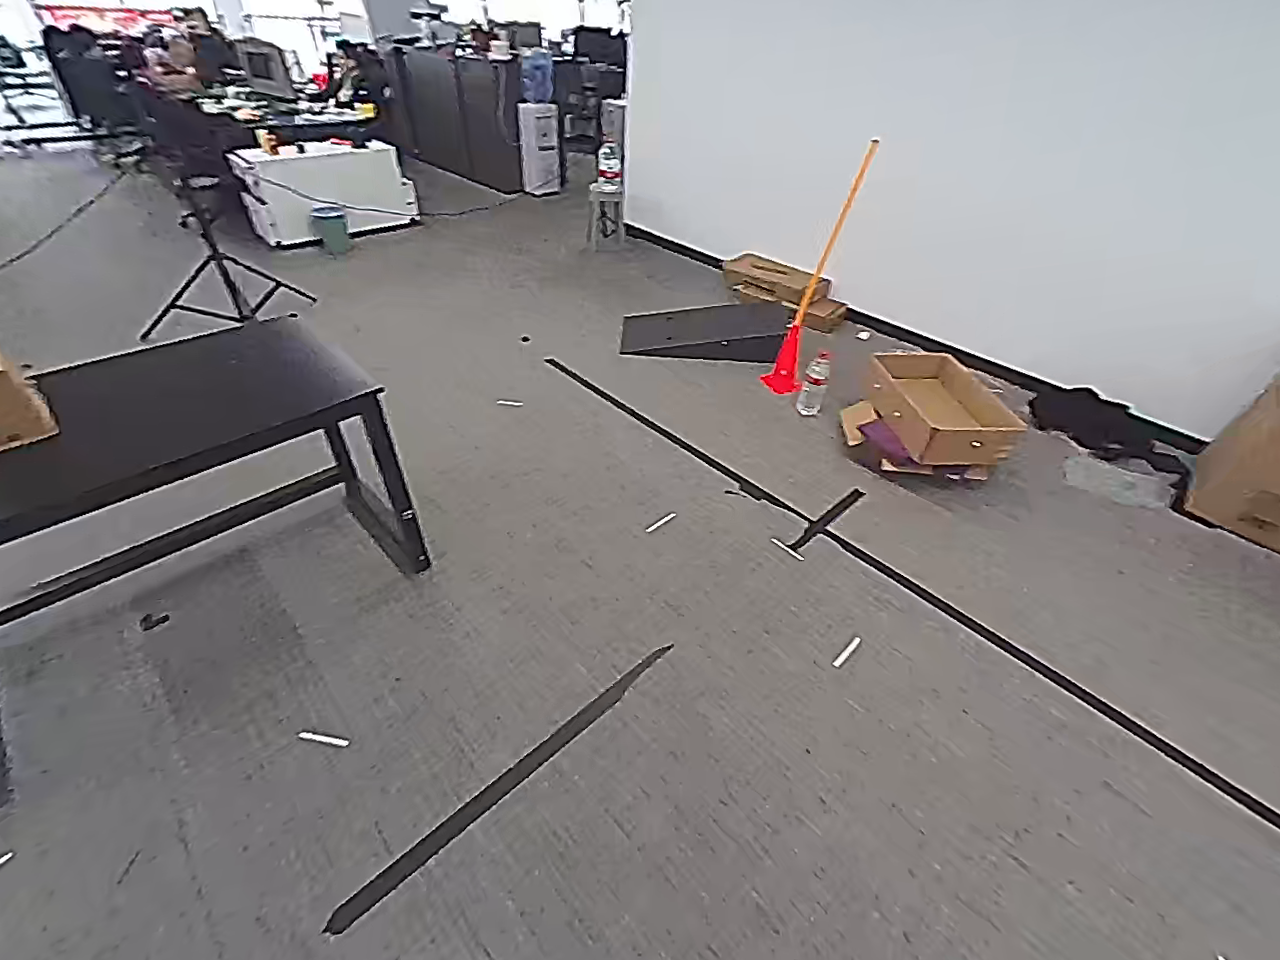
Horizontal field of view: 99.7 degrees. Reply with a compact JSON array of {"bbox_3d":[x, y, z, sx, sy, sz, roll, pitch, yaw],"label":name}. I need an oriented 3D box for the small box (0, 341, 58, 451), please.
[{"bbox_3d":[-1.407,-0.171,1.151,0.179,0.176,0.168,35,49,30],"label":"small box"}]
